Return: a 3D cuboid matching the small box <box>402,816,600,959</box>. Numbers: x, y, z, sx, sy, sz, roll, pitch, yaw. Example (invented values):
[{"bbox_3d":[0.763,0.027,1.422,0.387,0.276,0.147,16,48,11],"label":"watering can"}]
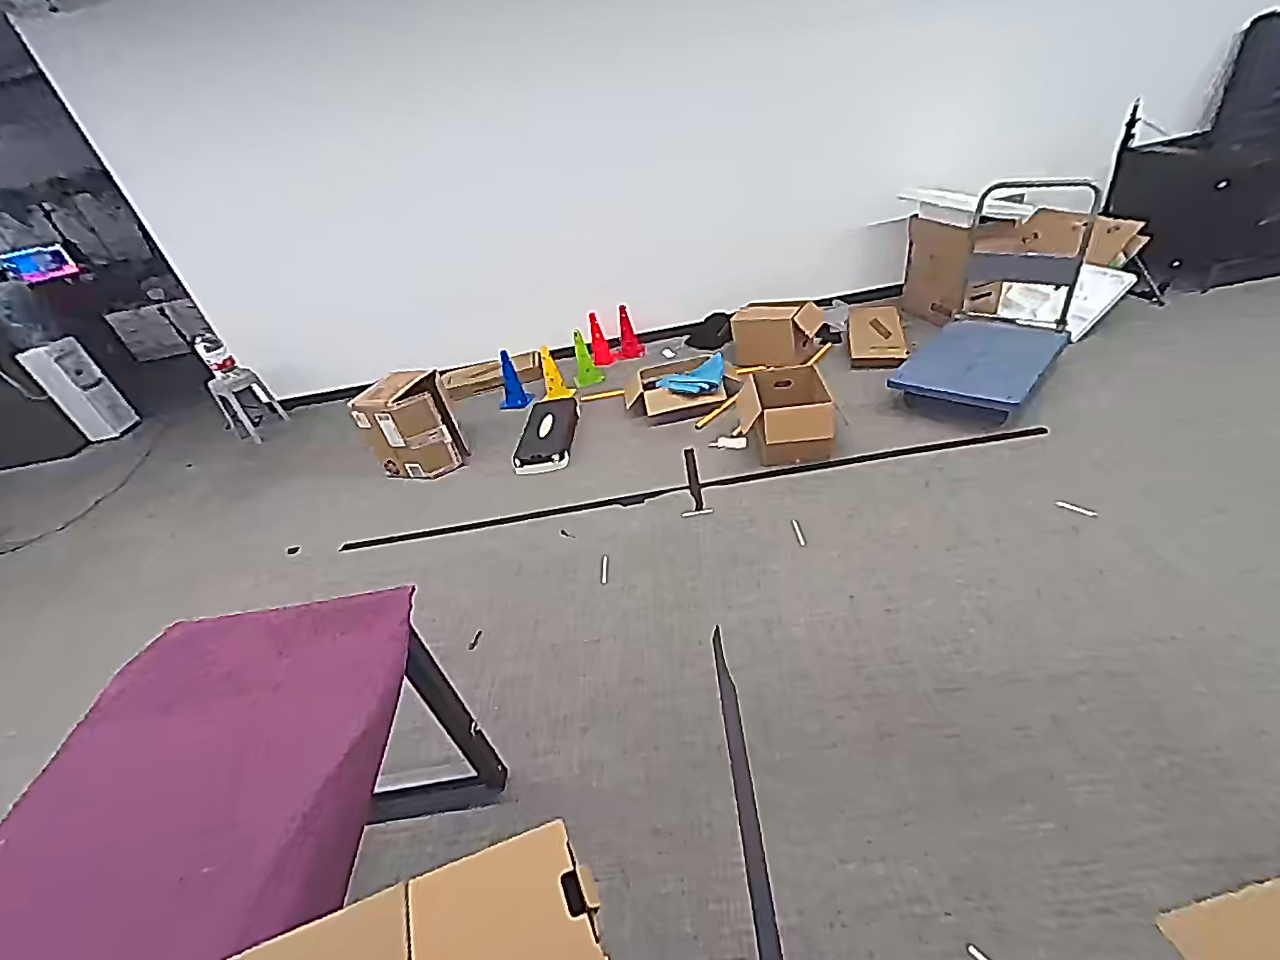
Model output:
[{"bbox_3d":[-0.143,0.513,0.574,0.179,0.176,0.168,-10,30,-21],"label":"small box"}]
